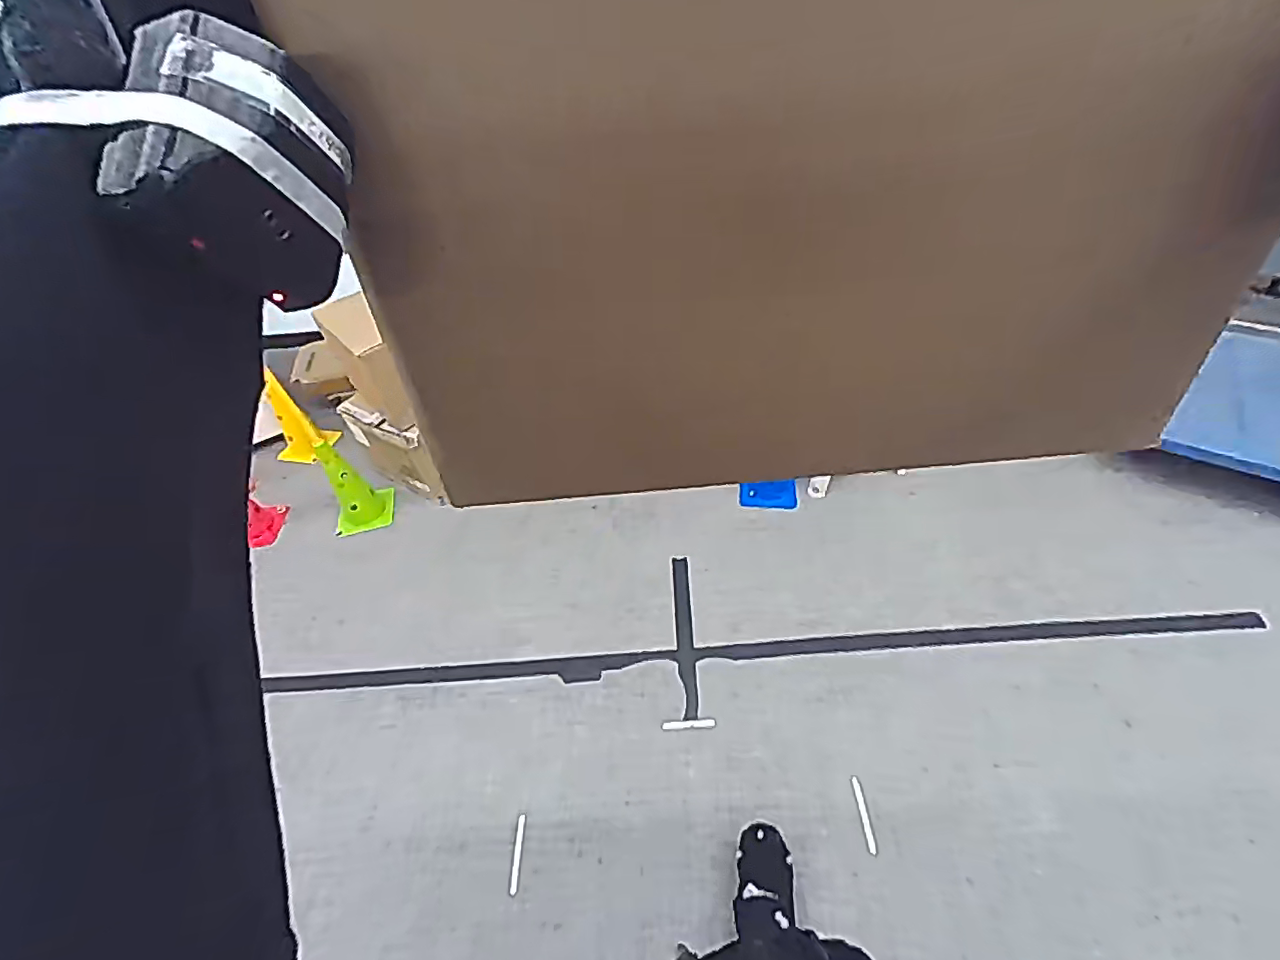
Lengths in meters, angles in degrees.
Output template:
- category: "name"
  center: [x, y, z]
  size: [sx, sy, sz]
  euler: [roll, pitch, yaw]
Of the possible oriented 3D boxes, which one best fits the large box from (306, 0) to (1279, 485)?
- category: "large box"
  center: [0.070, -0.220, 0.352]
  size: [0.408, 0.320, 0.320]
  euler: [-5, 38, 0]
